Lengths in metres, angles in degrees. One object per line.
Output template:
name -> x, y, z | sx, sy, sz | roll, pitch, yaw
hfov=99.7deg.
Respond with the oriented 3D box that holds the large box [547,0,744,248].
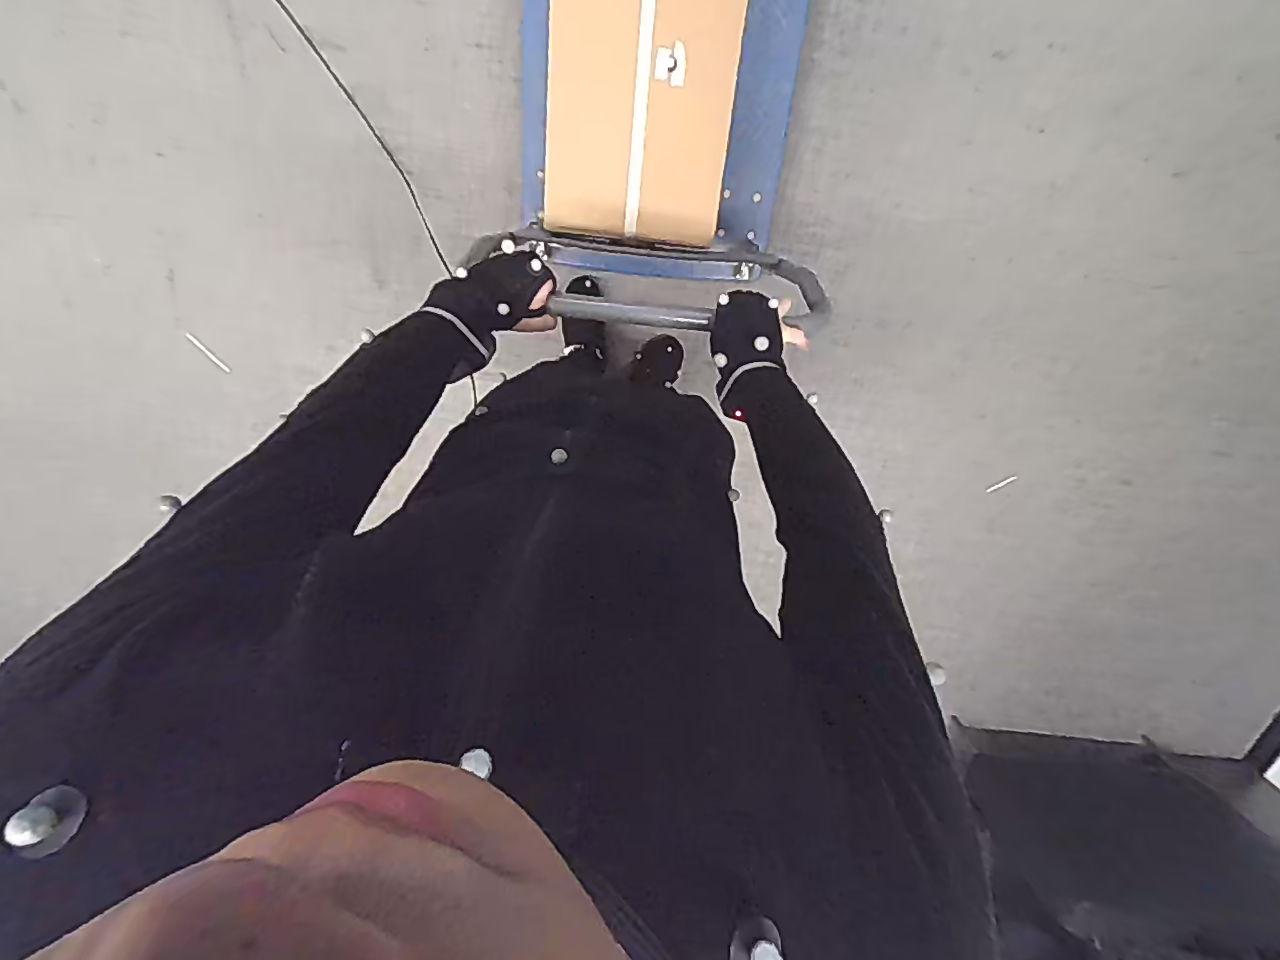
large box -> 0.002, -0.687, 1.064 | 0.320, 0.320, 0.408 | 5, 112, -2
